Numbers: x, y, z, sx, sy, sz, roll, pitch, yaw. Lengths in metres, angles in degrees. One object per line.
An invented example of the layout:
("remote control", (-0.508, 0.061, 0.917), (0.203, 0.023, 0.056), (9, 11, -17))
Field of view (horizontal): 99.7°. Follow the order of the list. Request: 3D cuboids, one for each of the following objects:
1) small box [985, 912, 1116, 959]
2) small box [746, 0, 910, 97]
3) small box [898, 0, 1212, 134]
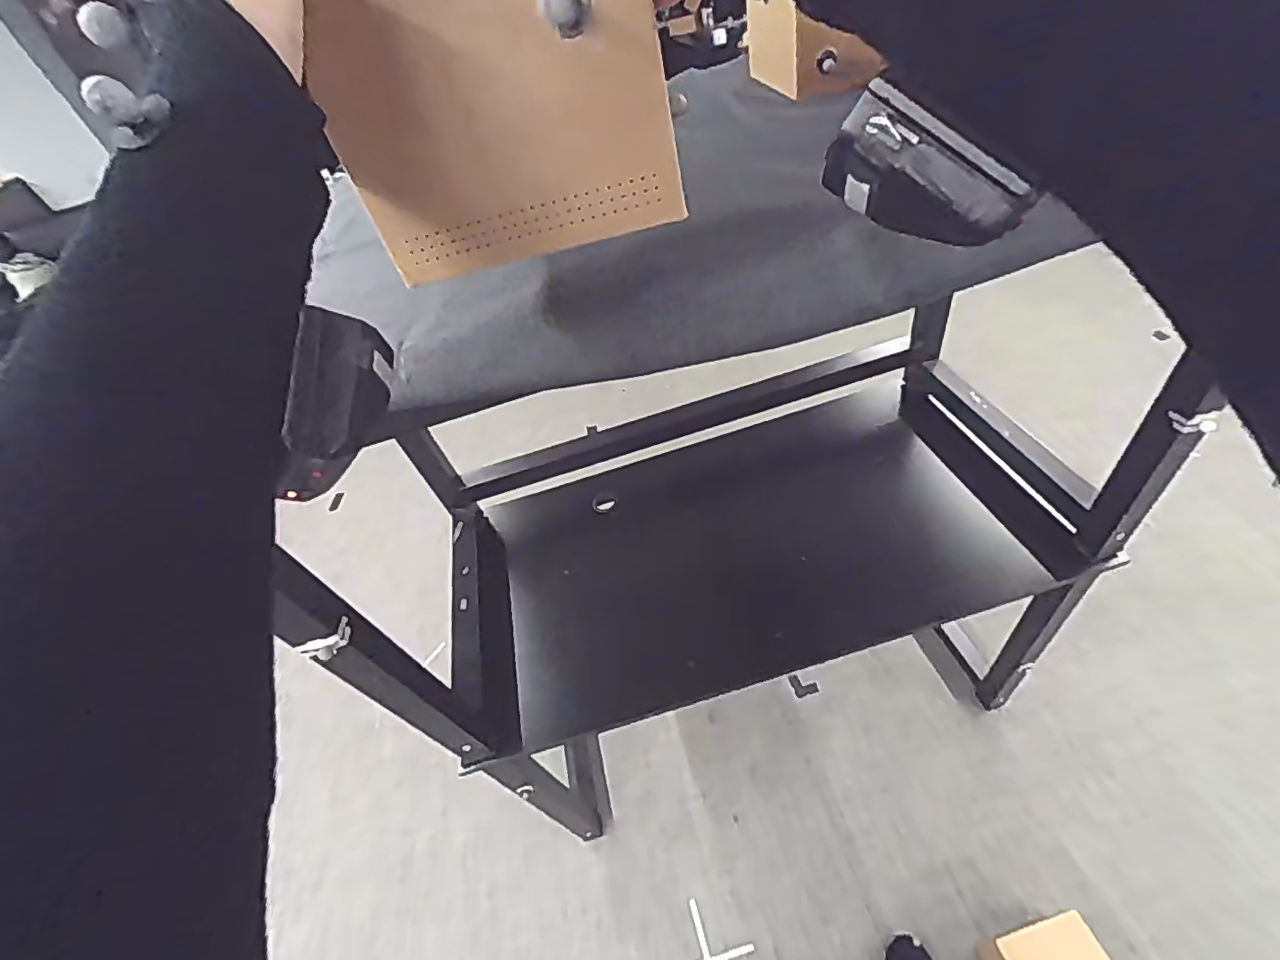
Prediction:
("small box", (0.815, 0.970, 1.046), (0.179, 0.176, 0.168), (-20, 45, -1))
("small box", (0.225, -0.568, 0.620), (0.168, 0.176, 0.179), (-16, 45, 2))
("small box", (0.336, -0.416, 0.443), (0.179, 0.176, 0.168), (-11, 44, 8))
